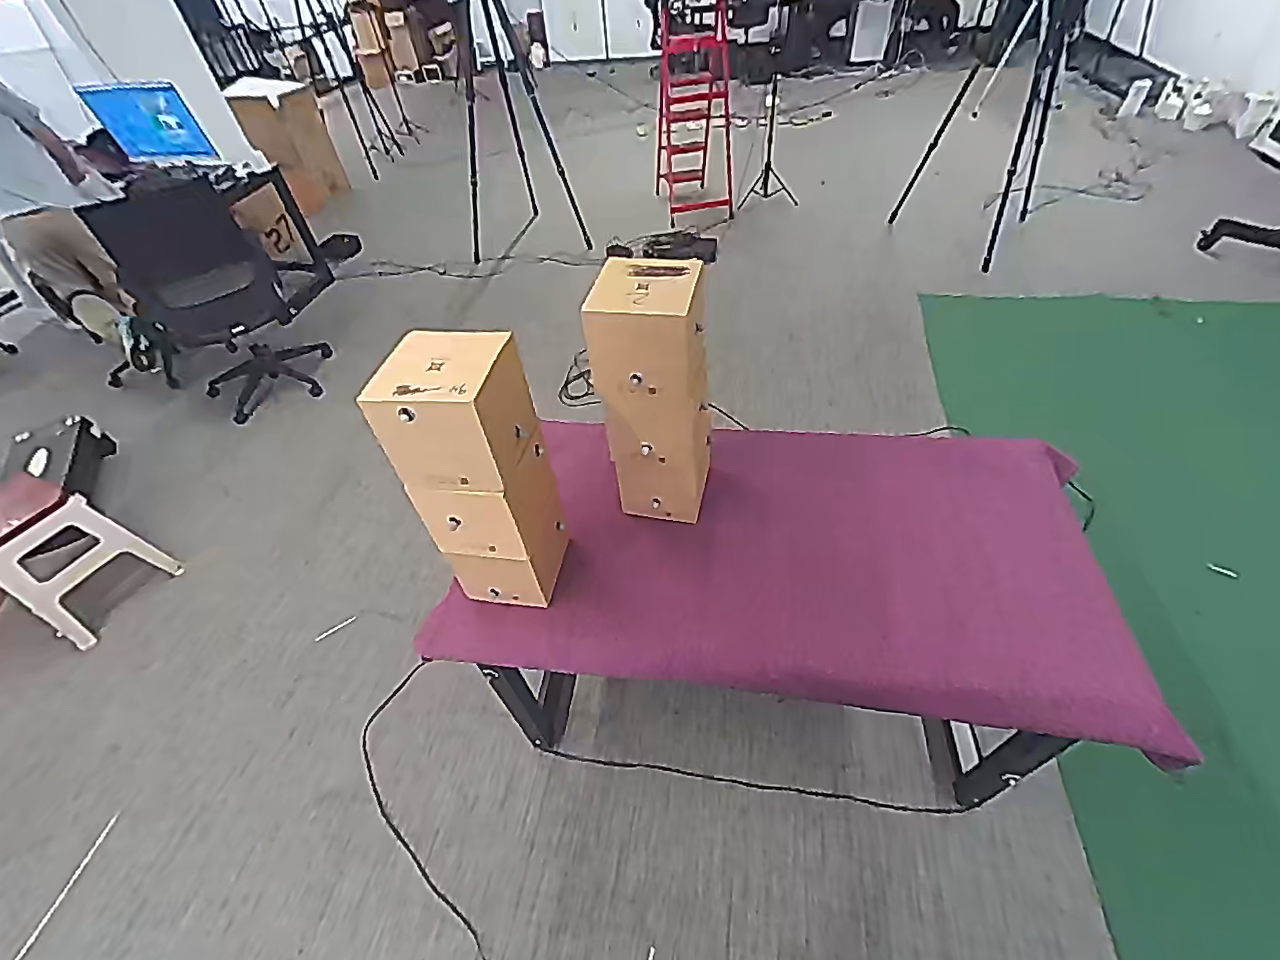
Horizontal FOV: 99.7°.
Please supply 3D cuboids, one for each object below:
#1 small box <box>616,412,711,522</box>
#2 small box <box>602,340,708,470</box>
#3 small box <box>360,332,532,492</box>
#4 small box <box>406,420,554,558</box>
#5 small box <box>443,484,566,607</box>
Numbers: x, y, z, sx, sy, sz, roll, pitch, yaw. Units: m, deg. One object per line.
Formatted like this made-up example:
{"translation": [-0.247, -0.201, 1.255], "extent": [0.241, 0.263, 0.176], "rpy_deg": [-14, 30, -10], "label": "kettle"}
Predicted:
{"translation": [0.055, -0.037, 1.160], "extent": [0.168, 0.176, 0.179], "rpy_deg": [8, 49, 13], "label": "small box"}
{"translation": [0.036, -0.144, 1.037], "extent": [0.168, 0.176, 0.179], "rpy_deg": [6, 49, 12], "label": "small box"}
{"translation": [-0.272, -0.105, 0.810], "extent": [0.168, 0.176, 0.179], "rpy_deg": [2, 45, 9], "label": "small box"}
{"translation": [-0.258, 0.013, 0.924], "extent": [0.168, 0.176, 0.179], "rpy_deg": [4, 46, 11], "label": "small box"}
{"translation": [-0.248, 0.119, 1.046], "extent": [0.168, 0.176, 0.179], "rpy_deg": [4, 47, 10], "label": "small box"}
